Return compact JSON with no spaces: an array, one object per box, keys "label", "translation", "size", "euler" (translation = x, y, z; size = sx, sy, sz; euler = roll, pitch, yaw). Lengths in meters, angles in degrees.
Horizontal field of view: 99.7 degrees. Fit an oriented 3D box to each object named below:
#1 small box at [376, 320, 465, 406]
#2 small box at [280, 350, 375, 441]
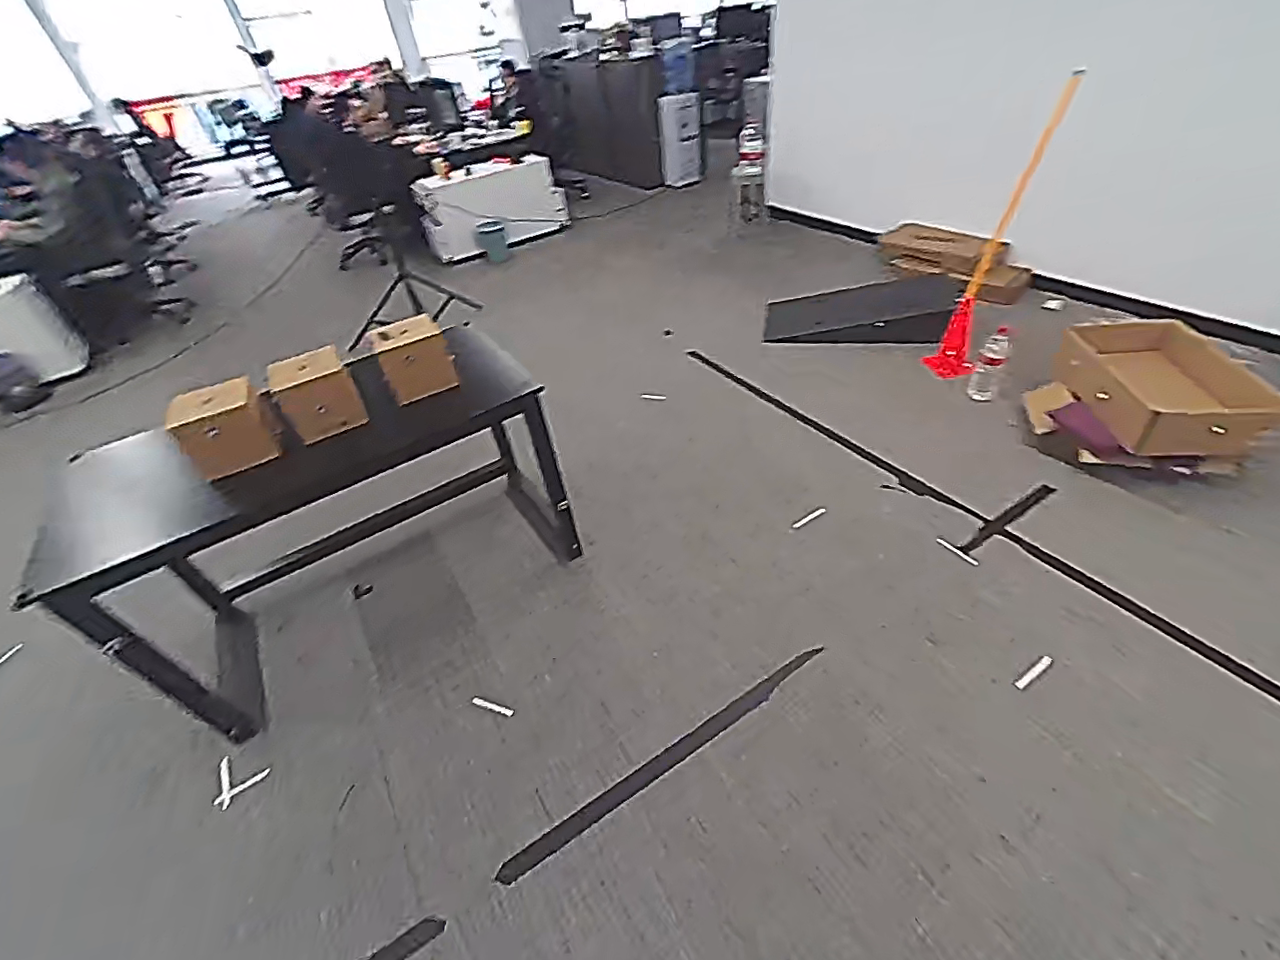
[{"label":"small box","translation":[-0.637,-0.340,1.575],"size":[0.179,0.176,0.168],"euler":[-25,44,-19]},{"label":"small box","translation":[-0.851,-0.226,1.480],"size":[0.168,0.176,0.179],"euler":[-25,44,-20]}]
